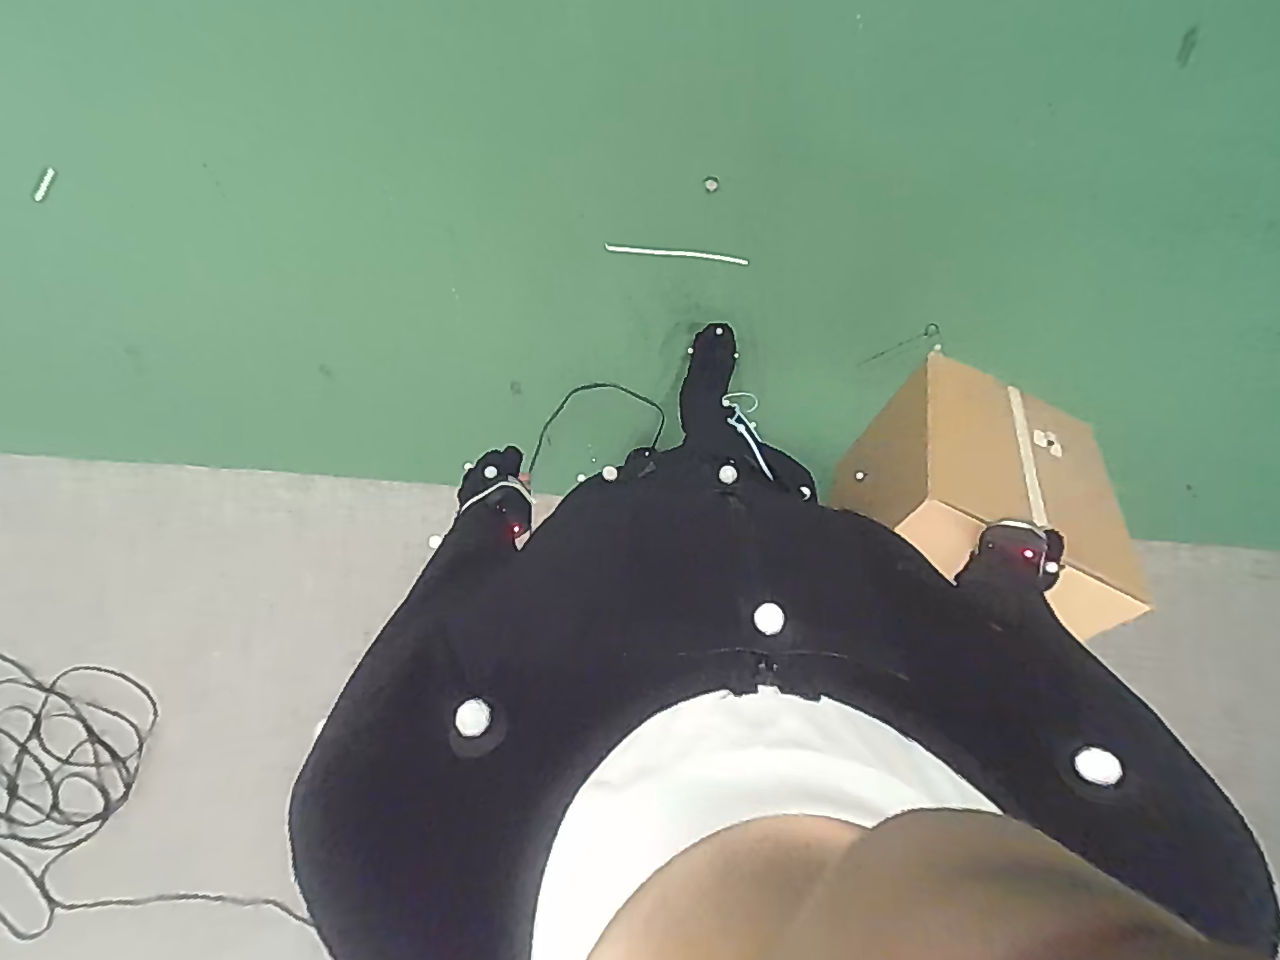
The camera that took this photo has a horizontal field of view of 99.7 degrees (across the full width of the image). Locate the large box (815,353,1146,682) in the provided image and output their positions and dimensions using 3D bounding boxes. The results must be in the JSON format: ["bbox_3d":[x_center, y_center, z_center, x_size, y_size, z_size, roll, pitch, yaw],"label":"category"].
[{"bbox_3d":[0.534,0.058,0.935,0.320,0.408,0.320,27,136,2],"label":"large box"}]
